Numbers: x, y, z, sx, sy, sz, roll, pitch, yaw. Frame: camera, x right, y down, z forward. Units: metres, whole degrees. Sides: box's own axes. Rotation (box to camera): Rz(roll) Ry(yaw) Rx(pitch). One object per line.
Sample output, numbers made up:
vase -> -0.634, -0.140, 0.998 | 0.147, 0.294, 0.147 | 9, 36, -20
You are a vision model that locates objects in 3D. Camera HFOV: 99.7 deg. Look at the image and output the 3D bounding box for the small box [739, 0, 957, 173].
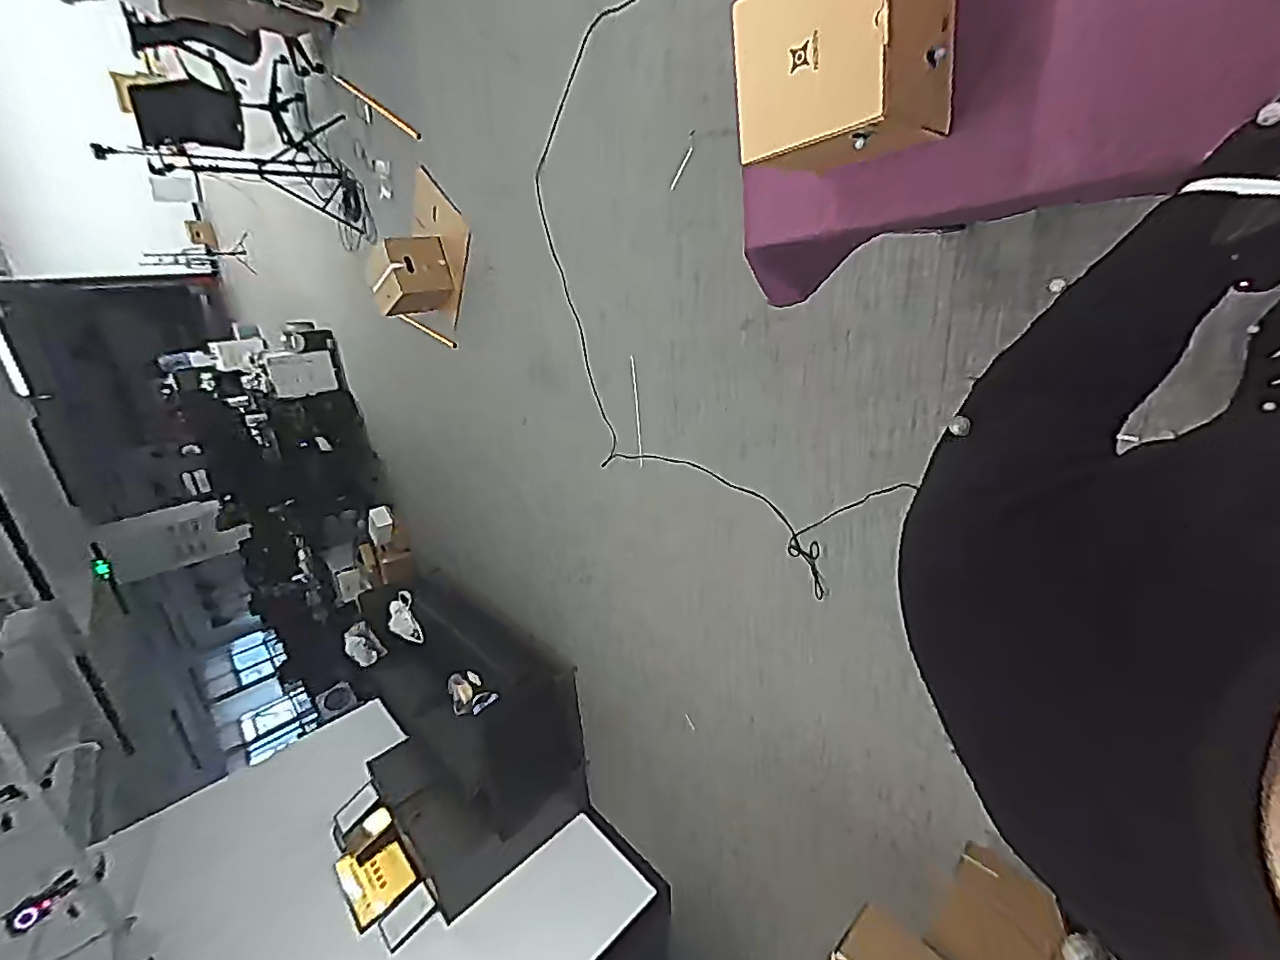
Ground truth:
small box -> 0.237, -0.471, 0.626 | 0.179, 0.176, 0.168 | 11, 114, 47
